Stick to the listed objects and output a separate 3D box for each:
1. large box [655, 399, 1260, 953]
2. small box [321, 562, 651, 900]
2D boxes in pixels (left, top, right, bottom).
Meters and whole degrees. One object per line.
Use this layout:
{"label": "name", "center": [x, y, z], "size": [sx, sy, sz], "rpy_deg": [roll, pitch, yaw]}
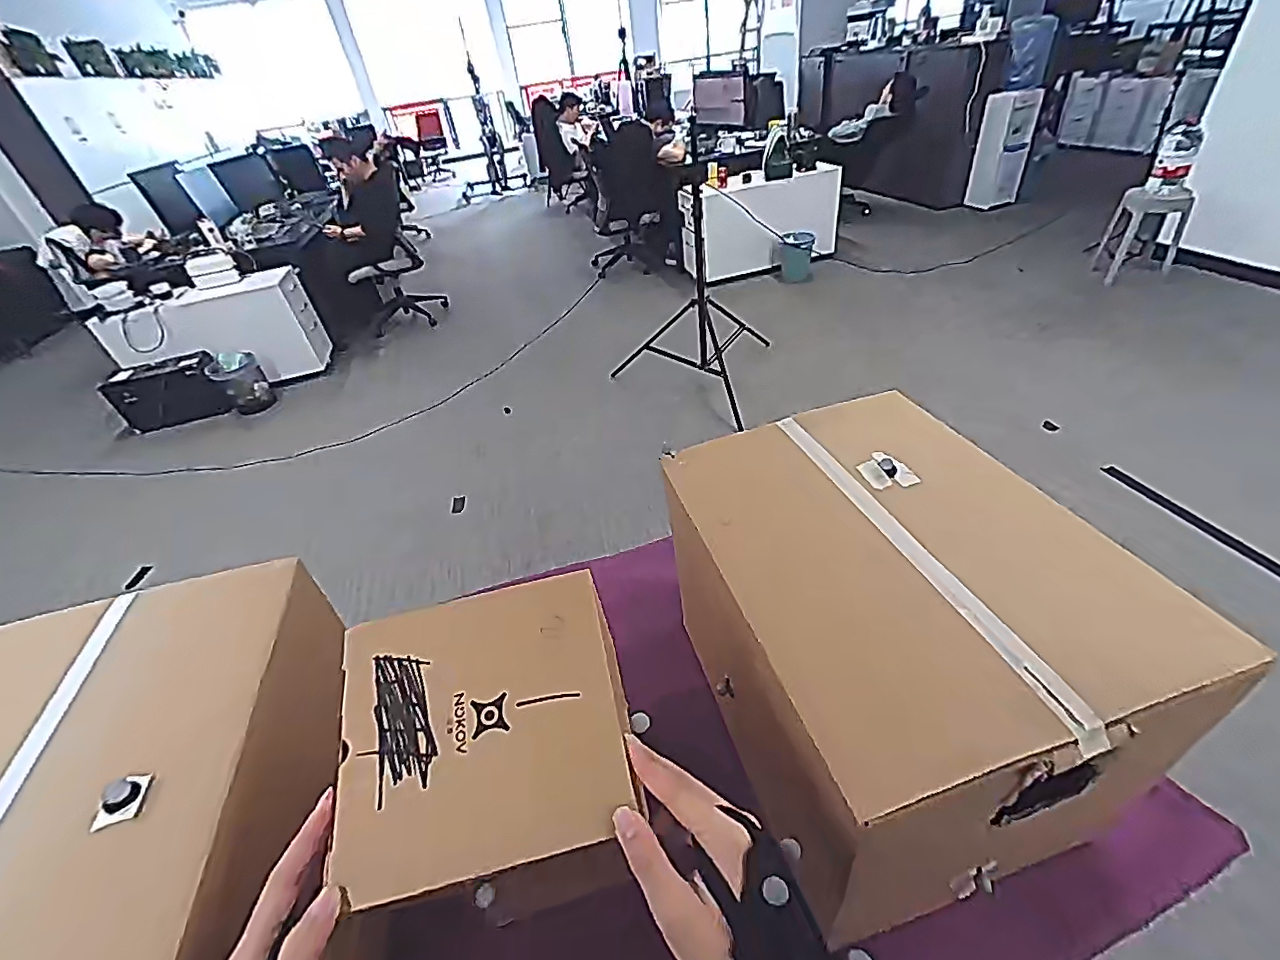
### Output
{"label": "large box", "center": [0.239, 0.167, 0.580], "size": [0.320, 0.320, 0.408], "rpy_deg": [-16, 37, -9]}
{"label": "small box", "center": [-0.096, 0.187, 0.400], "size": [0.179, 0.176, 0.168], "rpy_deg": [-13, 55, -5]}
